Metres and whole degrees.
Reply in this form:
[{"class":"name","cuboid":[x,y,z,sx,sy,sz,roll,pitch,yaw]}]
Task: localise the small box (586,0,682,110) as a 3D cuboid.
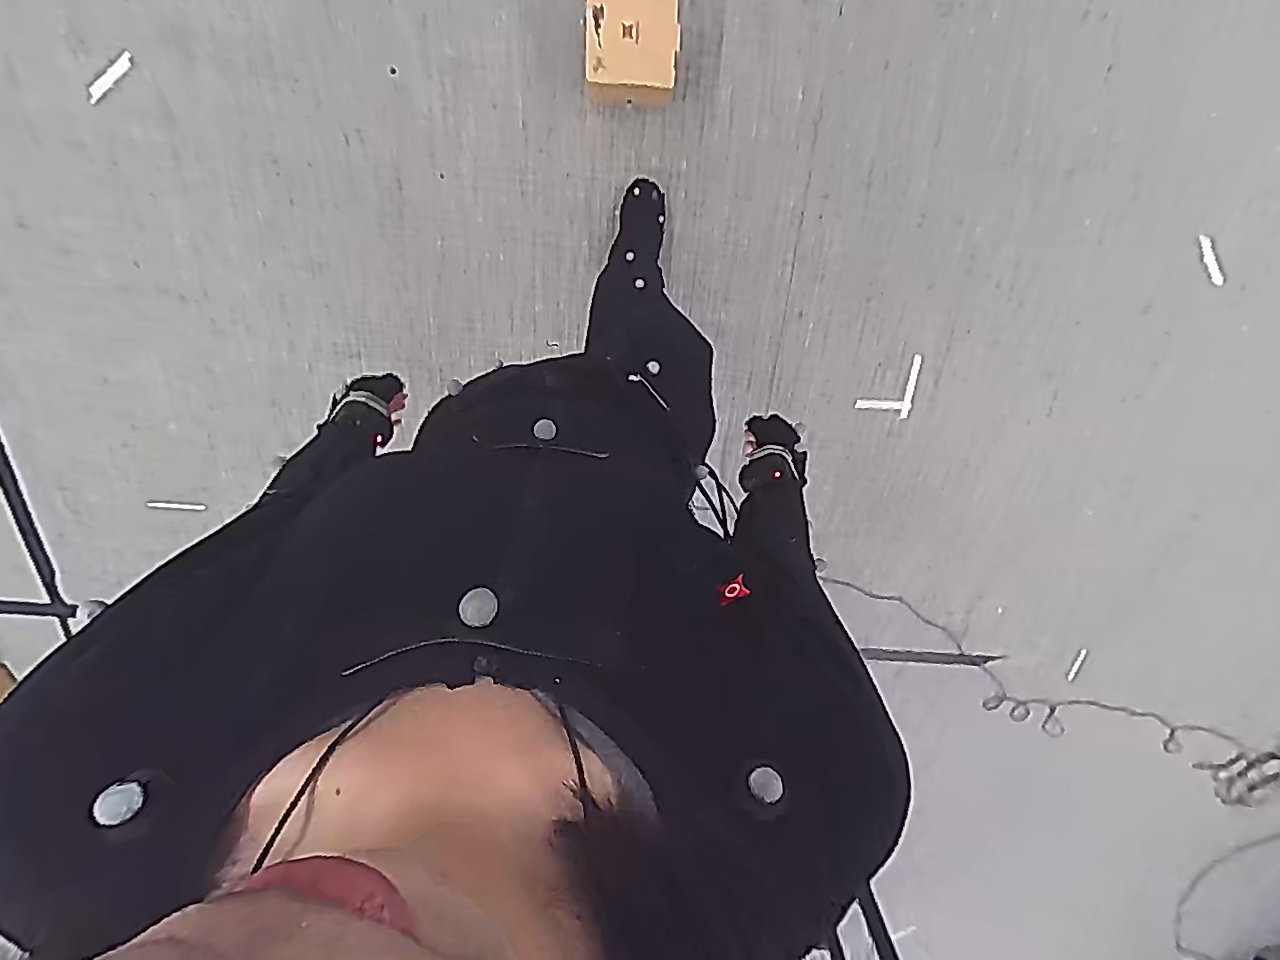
[{"class":"small box","cuboid":[-0.018,-0.870,1.097,0.179,0.176,0.168,2,113,-4]}]
